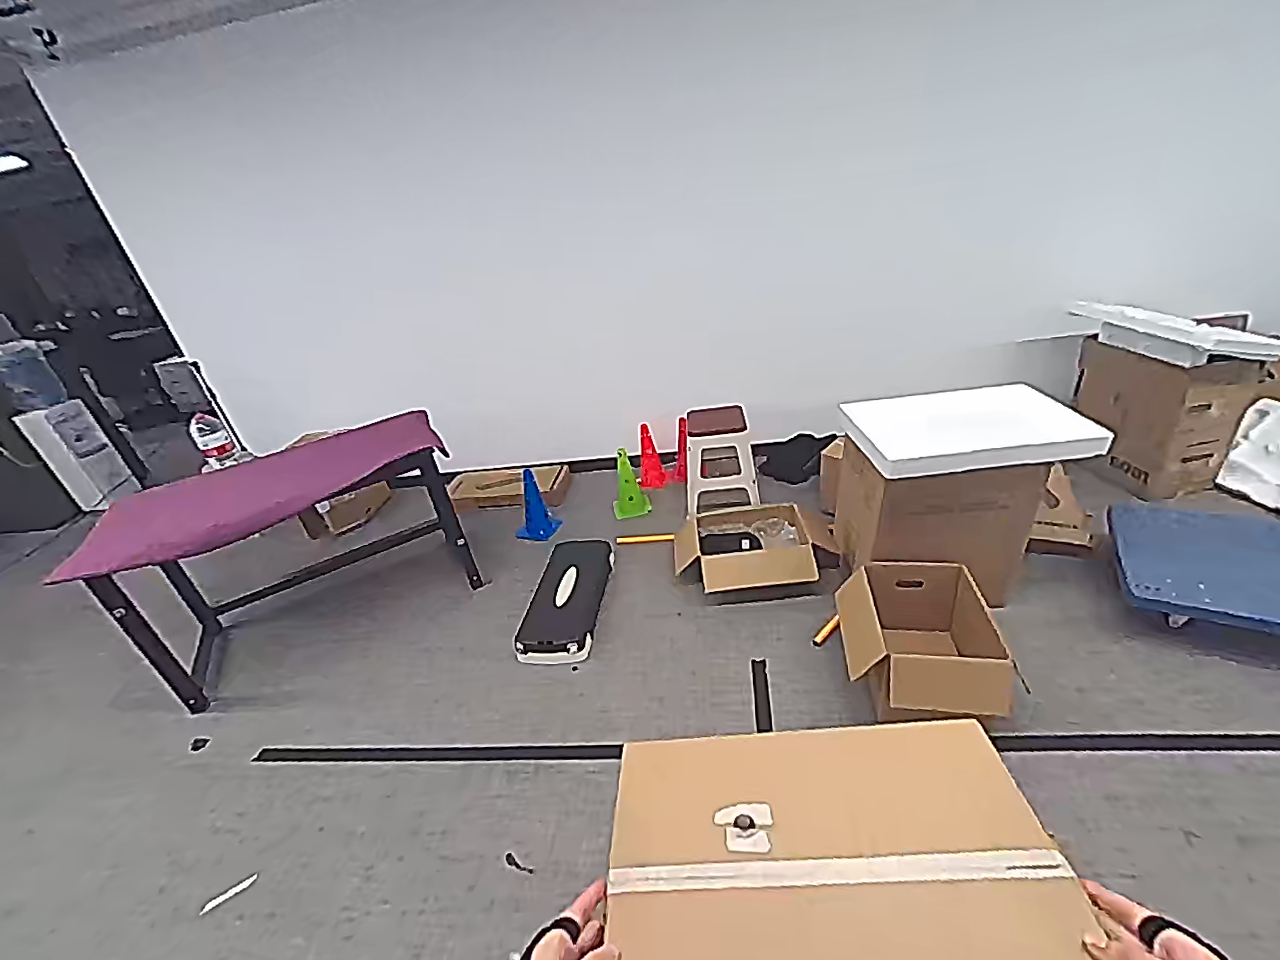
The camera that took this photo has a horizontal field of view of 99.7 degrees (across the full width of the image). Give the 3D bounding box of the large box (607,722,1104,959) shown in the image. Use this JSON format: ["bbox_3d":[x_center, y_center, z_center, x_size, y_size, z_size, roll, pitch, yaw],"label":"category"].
[{"bbox_3d":[0.197,0.503,0.564,0.408,0.320,0.320,-9,23,8],"label":"large box"}]
